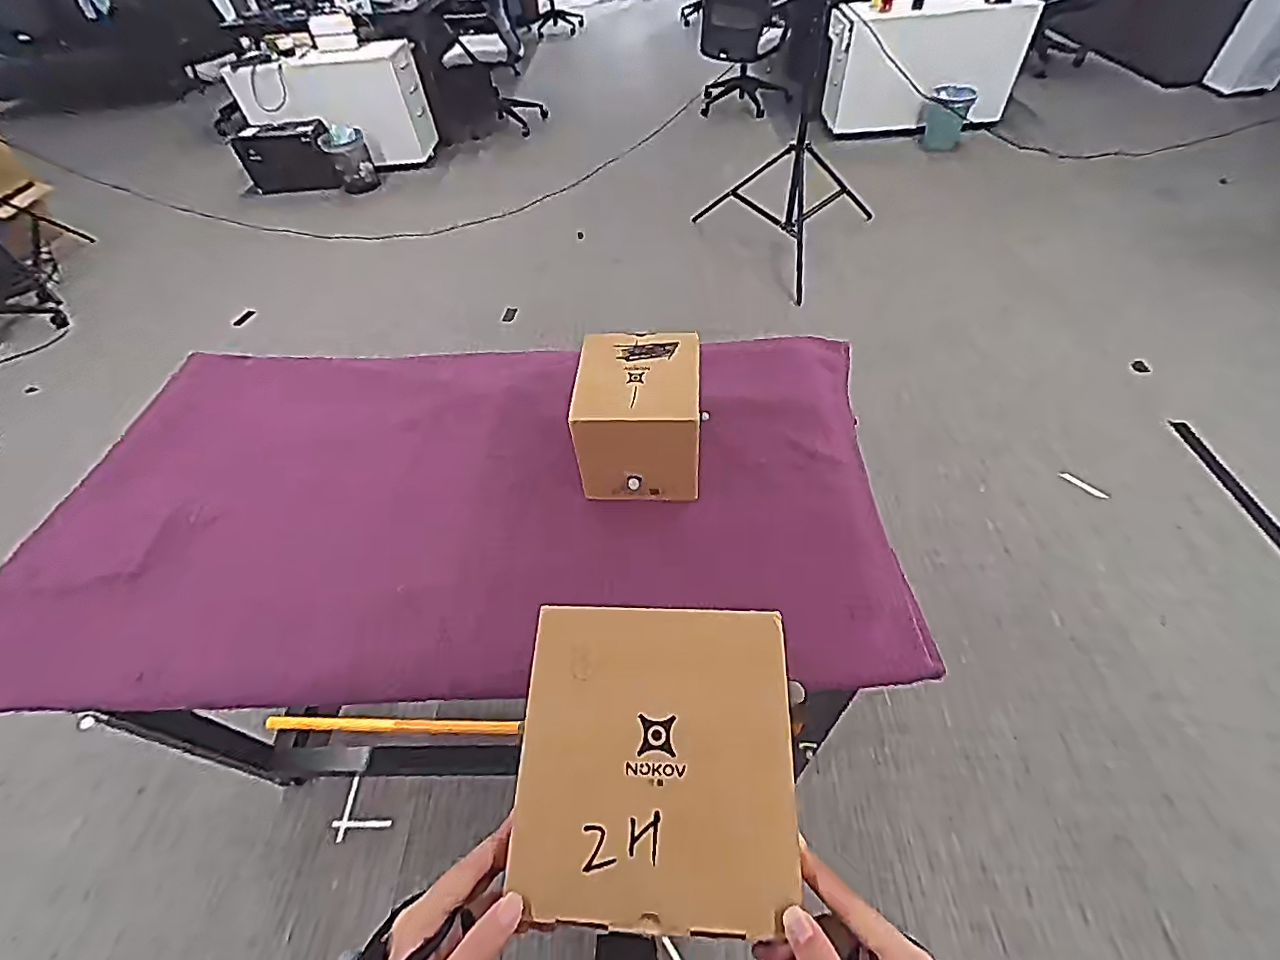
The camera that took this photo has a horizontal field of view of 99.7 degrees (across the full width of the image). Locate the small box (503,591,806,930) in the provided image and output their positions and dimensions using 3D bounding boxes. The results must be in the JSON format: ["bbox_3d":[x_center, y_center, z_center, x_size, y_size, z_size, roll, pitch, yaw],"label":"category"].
[{"bbox_3d":[0.017,0.194,0.397,0.168,0.176,0.179,1,61,6],"label":"small box"}]

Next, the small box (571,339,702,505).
[{"bbox_3d":[0.005,-0.085,0.786,0.168,0.176,0.179,1,51,6],"label":"small box"}]
